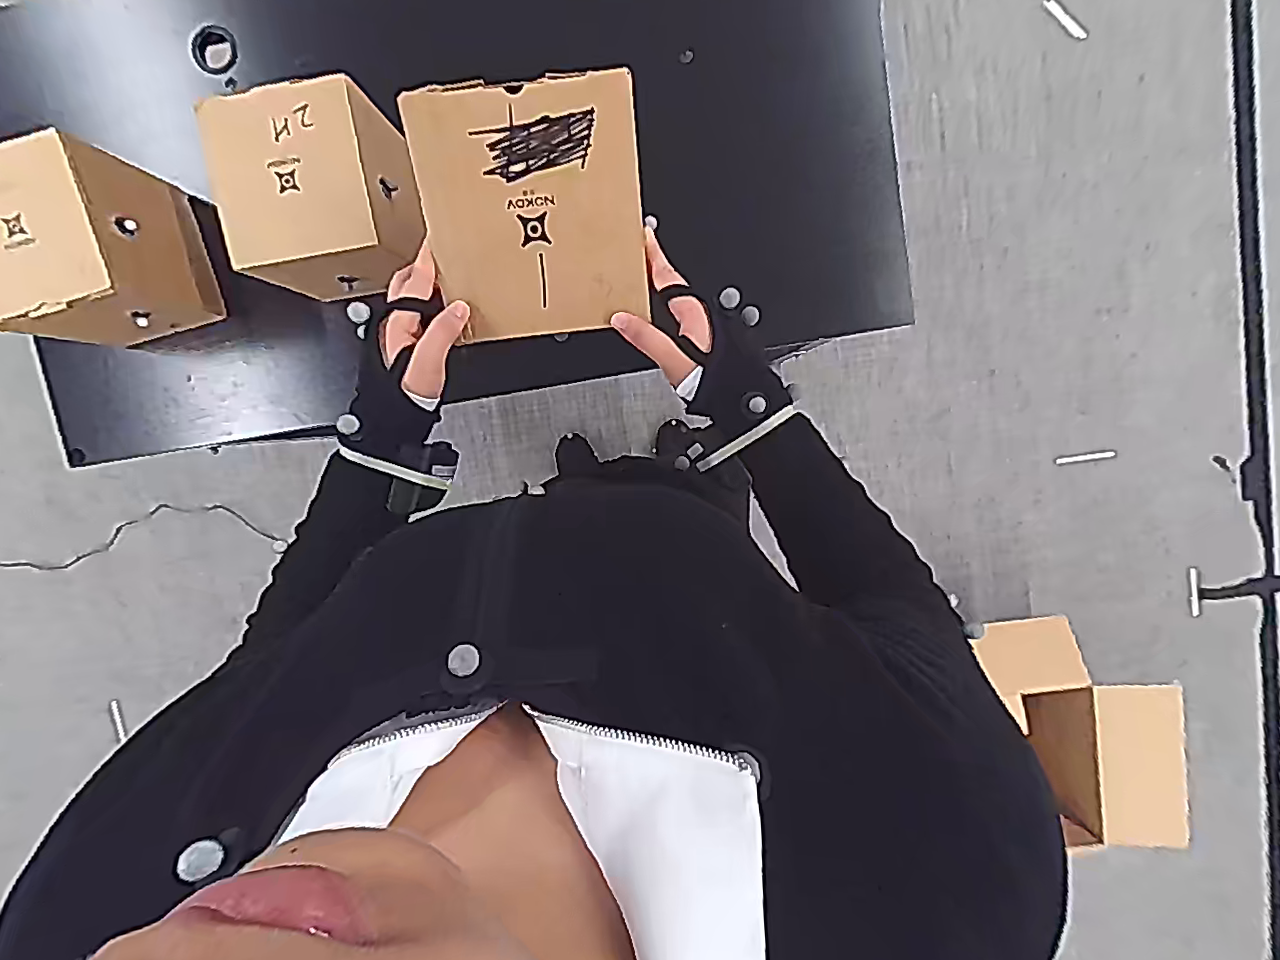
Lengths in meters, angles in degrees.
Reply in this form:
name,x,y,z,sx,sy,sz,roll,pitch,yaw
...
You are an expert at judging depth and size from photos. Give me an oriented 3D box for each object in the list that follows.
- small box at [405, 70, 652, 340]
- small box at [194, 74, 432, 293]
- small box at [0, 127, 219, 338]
name,x,y,z,sx,sy,sz,roll,pitch,yaw
small box,-0.082,-0.229,0.485,0.168,0.176,0.179,-6,111,0
small box,-0.369,-0.332,0.647,0.168,0.176,0.179,-8,97,2
small box,-0.672,-0.281,0.662,0.168,0.176,0.179,-14,95,2
